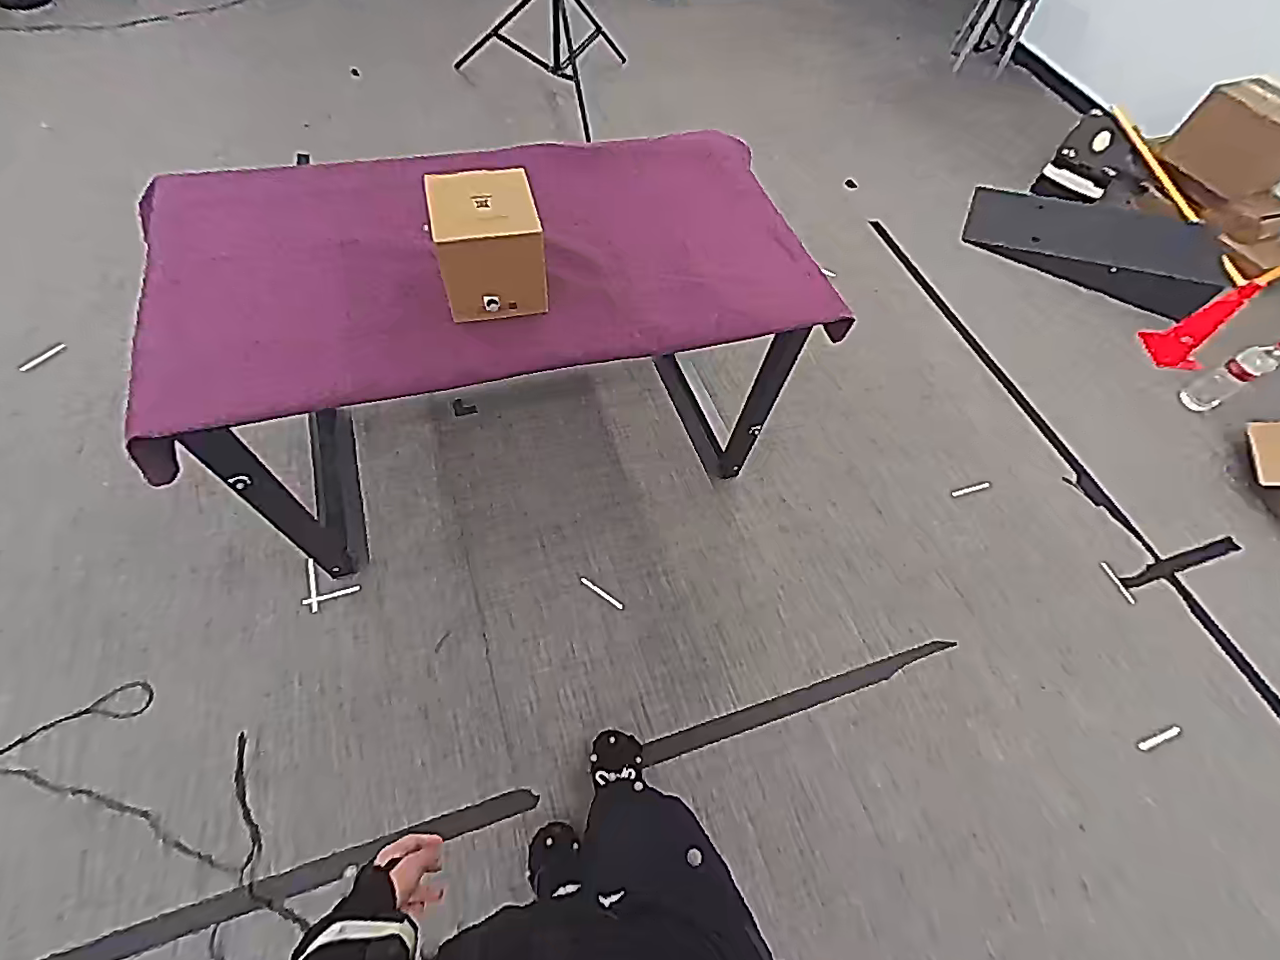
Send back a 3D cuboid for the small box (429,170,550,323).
[{"bbox_3d":[-0.254,-0.399,0.931,0.168,0.176,0.179,-12,62,-12],"label":"small box"}]
